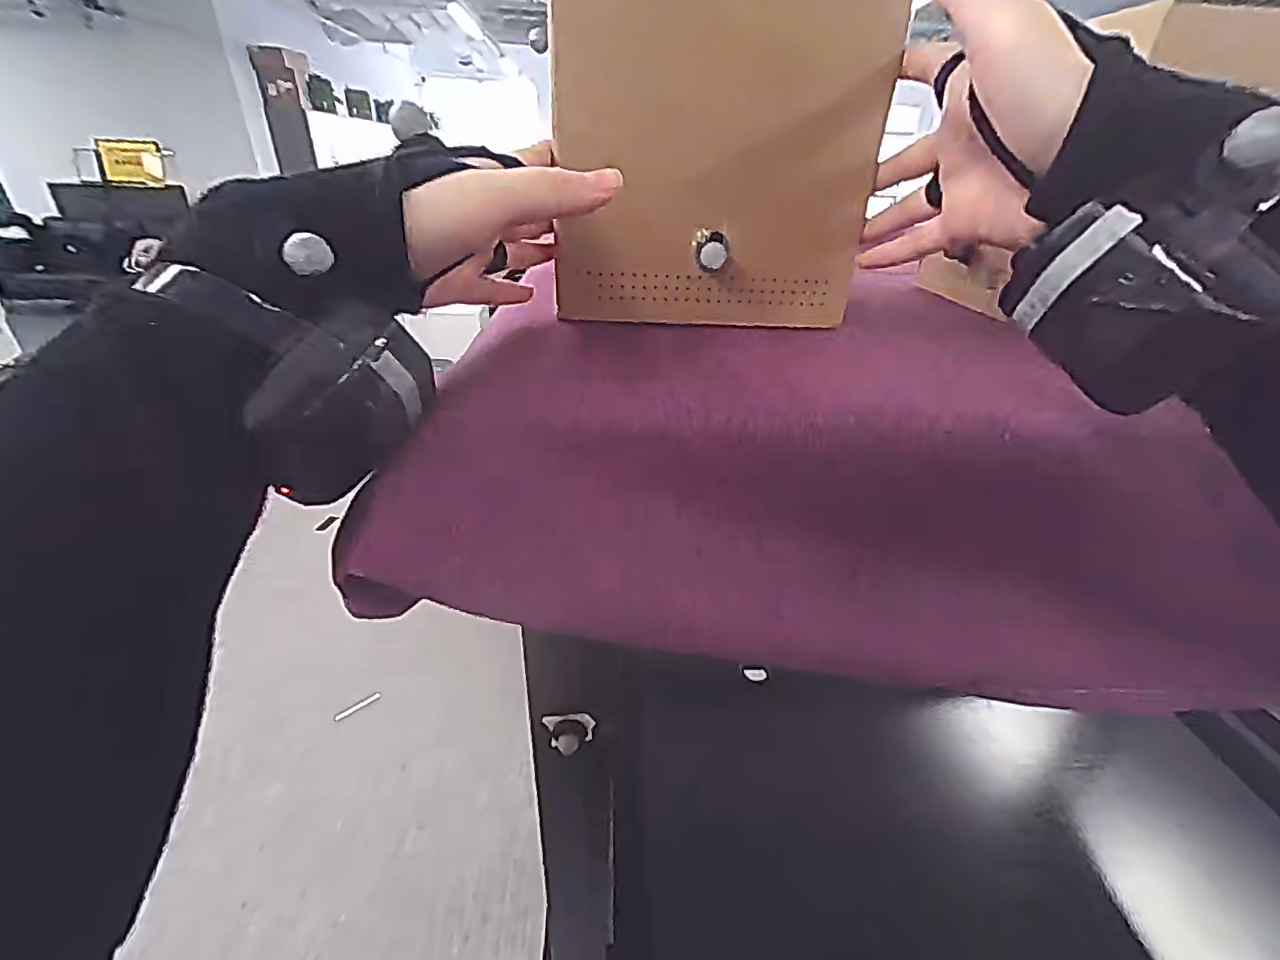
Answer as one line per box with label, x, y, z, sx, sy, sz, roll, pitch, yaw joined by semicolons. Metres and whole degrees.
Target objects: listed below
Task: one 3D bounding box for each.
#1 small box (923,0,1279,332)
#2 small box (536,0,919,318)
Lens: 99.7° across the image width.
small box;0.330;-0.201;0.362;0.179;0.176;0.168;0;30;-3
small box;0.030;-0.203;0.337;0.179;0.176;0.168;0;29;-7
